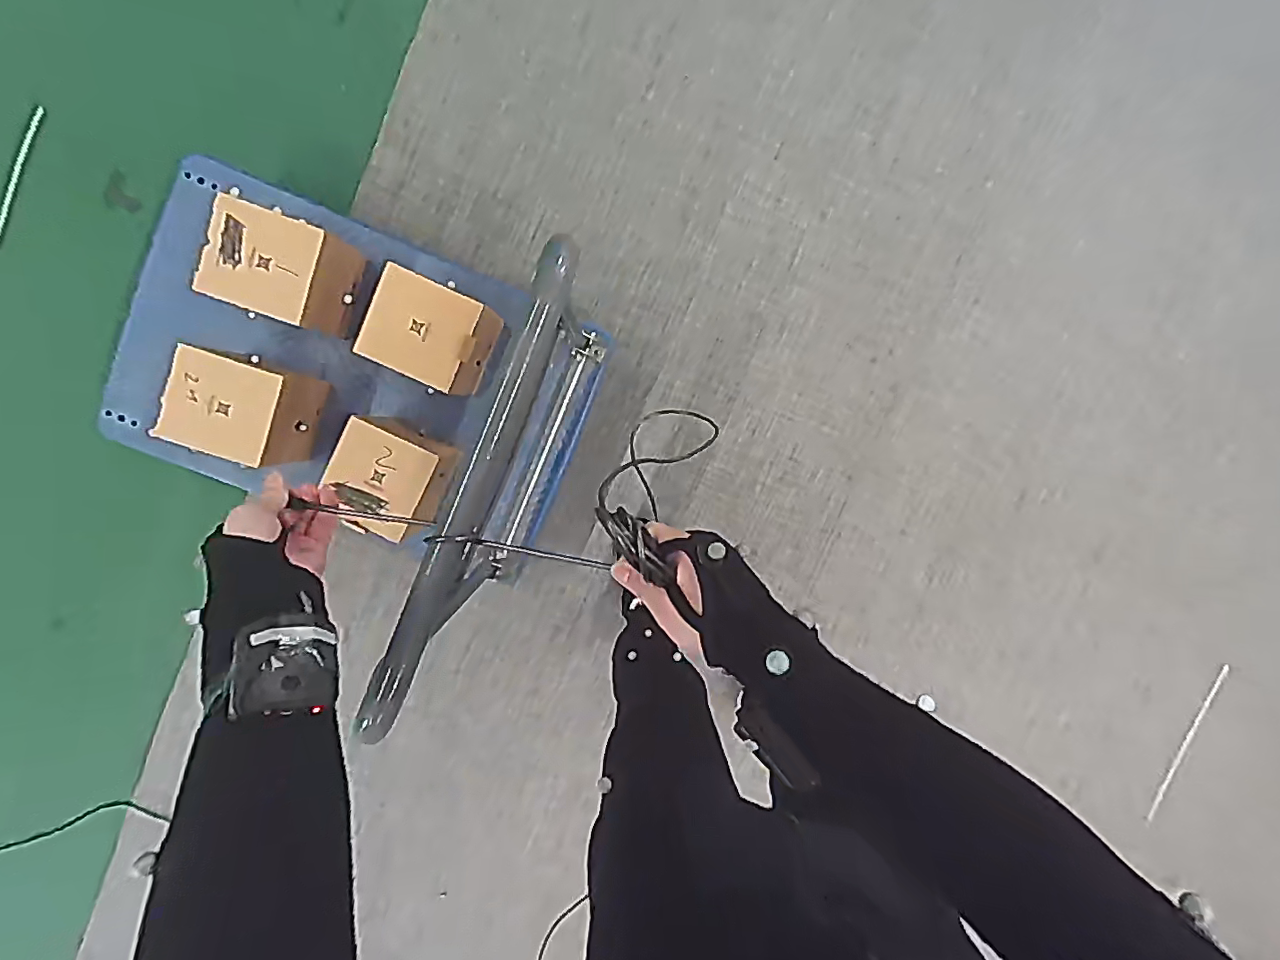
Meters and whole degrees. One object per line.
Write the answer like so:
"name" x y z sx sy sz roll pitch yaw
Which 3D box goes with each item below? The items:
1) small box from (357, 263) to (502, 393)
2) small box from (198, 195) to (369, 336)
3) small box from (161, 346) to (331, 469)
"small box" -0.377 -0.267 1.000 0.179 0.176 0.168 23 95 -7
"small box" -0.625 -0.369 0.969 0.179 0.176 0.168 19 96 -7
"small box" -0.706 -0.132 0.992 0.179 0.176 0.168 19 95 -6
